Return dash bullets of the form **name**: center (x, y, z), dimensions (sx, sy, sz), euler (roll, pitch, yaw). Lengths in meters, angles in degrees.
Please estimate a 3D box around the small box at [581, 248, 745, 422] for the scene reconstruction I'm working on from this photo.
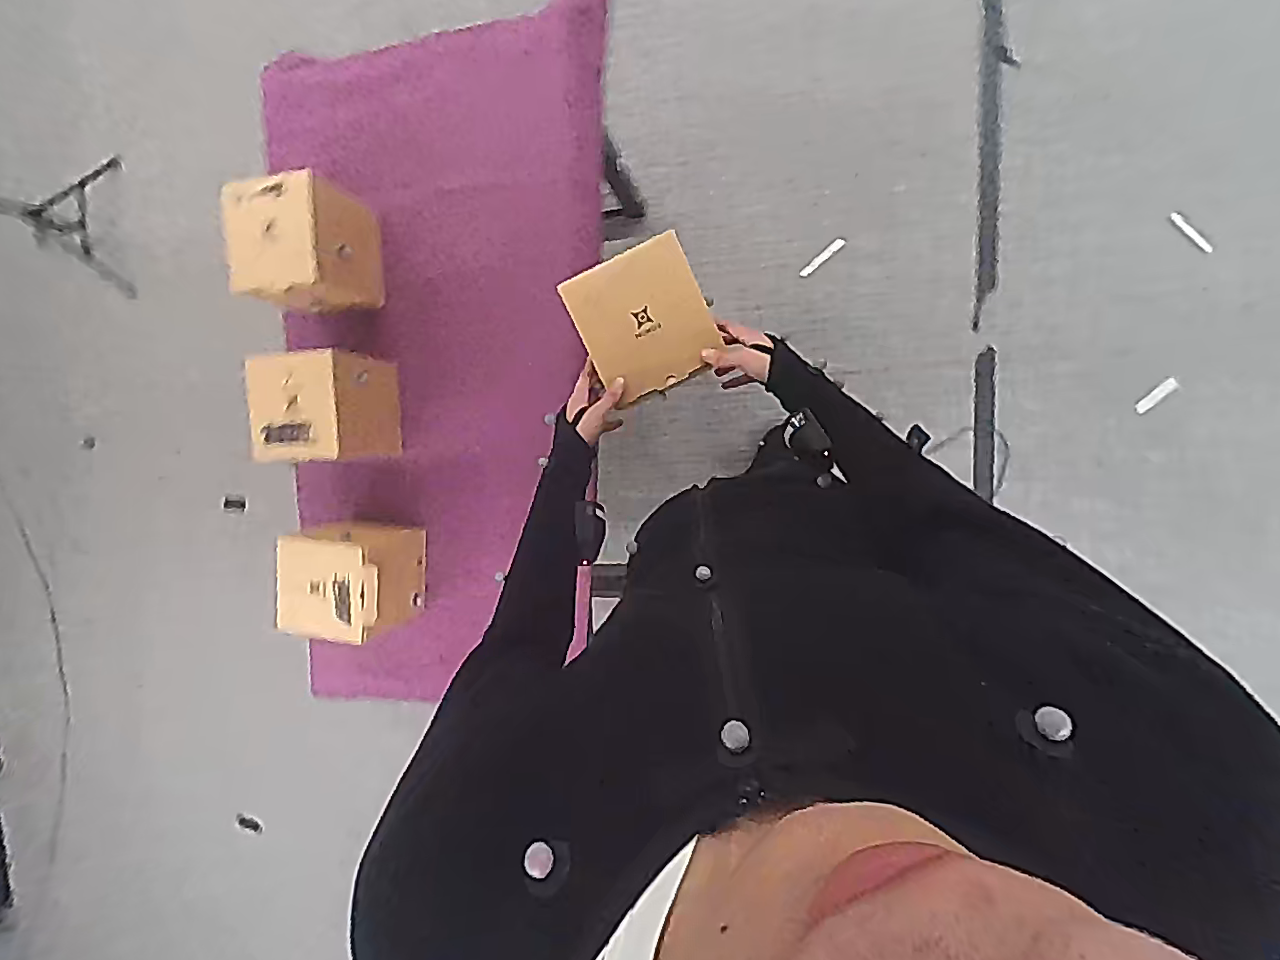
- **small box**: center (0.029, -0.192, 0.772), dimensions (0.168, 0.176, 0.179), euler (-24, 95, 2)

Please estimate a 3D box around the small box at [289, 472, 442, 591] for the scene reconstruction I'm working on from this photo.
- **small box**: center (-0.486, 0.082, 0.978), dimensions (0.179, 0.176, 0.168), euler (13, 96, 13)
